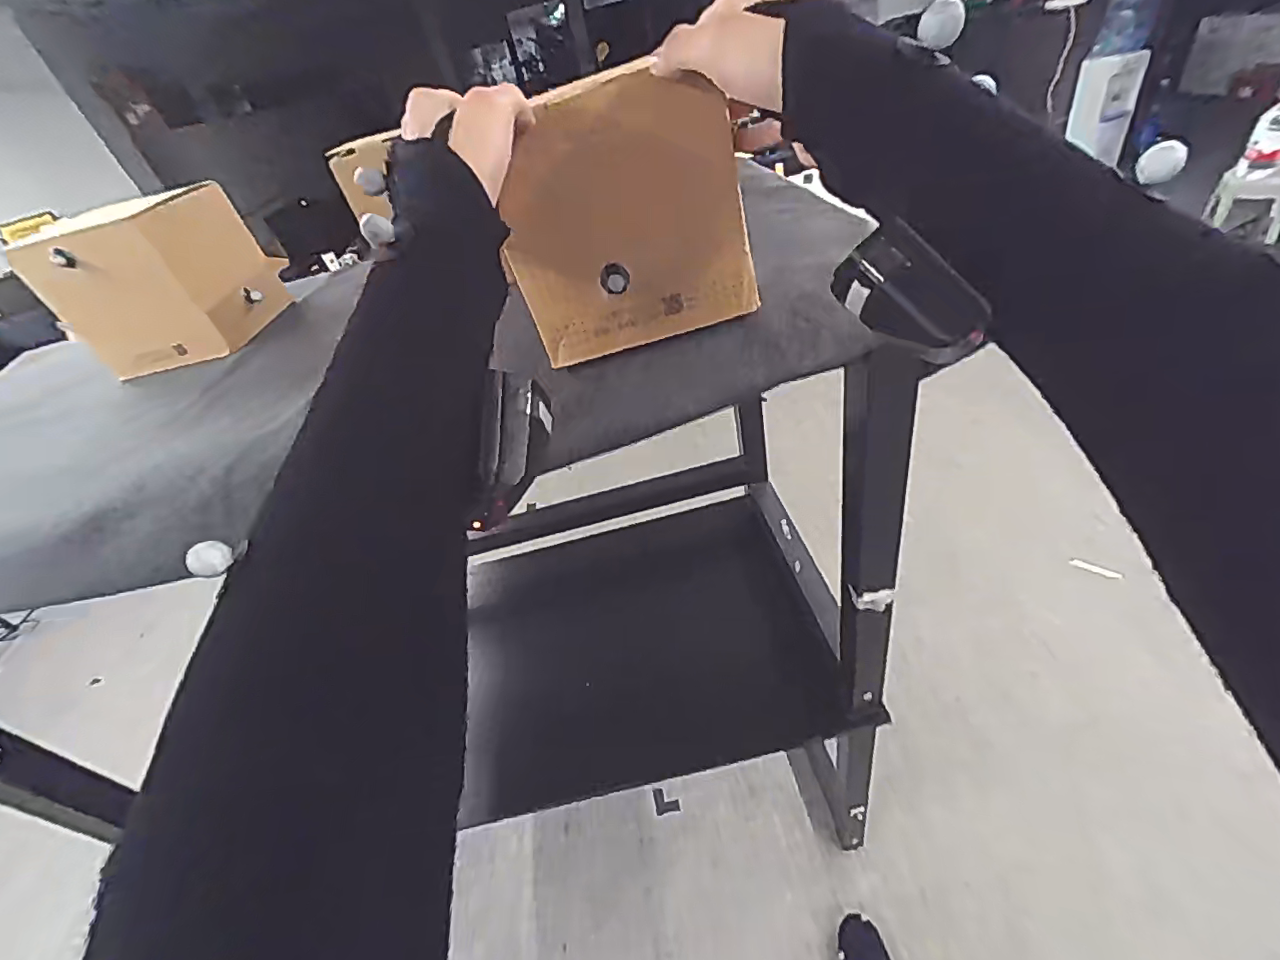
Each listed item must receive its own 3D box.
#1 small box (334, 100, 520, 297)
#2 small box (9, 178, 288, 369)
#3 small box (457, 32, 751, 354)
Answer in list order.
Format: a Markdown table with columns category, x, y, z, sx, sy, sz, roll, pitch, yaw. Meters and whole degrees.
| category | x | y | z | sx | sy | sz | roll | pitch | yaw |
| --- | --- | --- | --- | --- | --- | --- | --- | --- | --- |
| small box | -0.234 | -0.345 | 0.669 | 0.168 | 0.176 | 0.179 | -16 | 38 | 0 |
| small box | -0.603 | -0.267 | 0.700 | 0.168 | 0.176 | 0.179 | -11 | 39 | 5 |
| small box | -0.017 | -0.225 | 0.434 | 0.168 | 0.176 | 0.179 | -15 | 38 | 8 |
